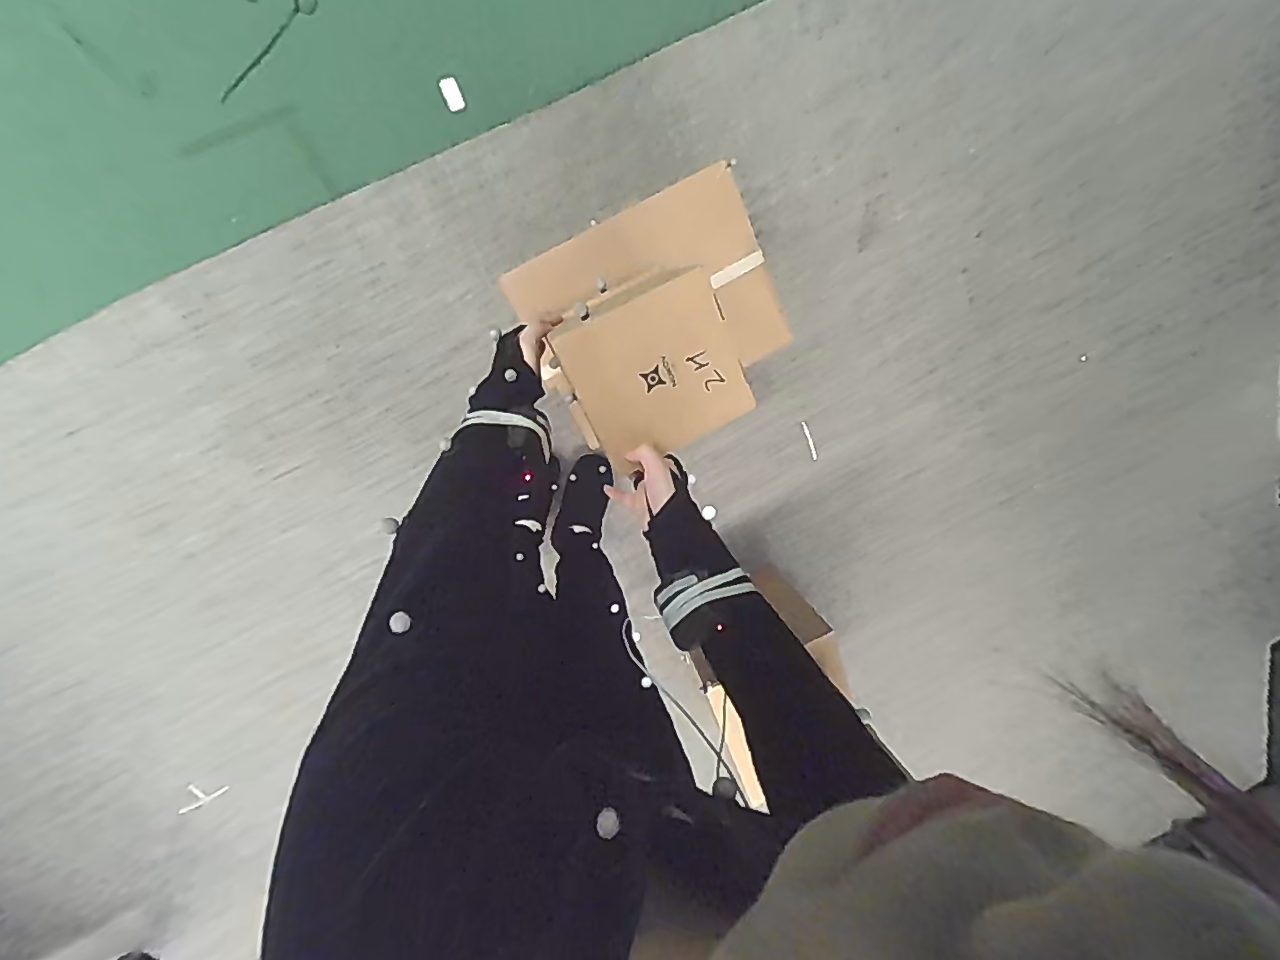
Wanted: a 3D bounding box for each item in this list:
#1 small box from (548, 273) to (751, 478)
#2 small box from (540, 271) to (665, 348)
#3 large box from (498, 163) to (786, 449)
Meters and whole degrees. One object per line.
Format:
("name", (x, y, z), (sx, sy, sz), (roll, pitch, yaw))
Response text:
("small box", (0.001, -0.129, 0.645), (0.179, 0.176, 0.168), (-27, 112, -3))
("small box", (-0.034, -0.187, 0.795), (0.179, 0.176, 0.168), (-27, 111, -4))
("large box", (-0.012, -0.314, 1.020), (0.408, 0.320, 0.320), (-29, 112, -3))
